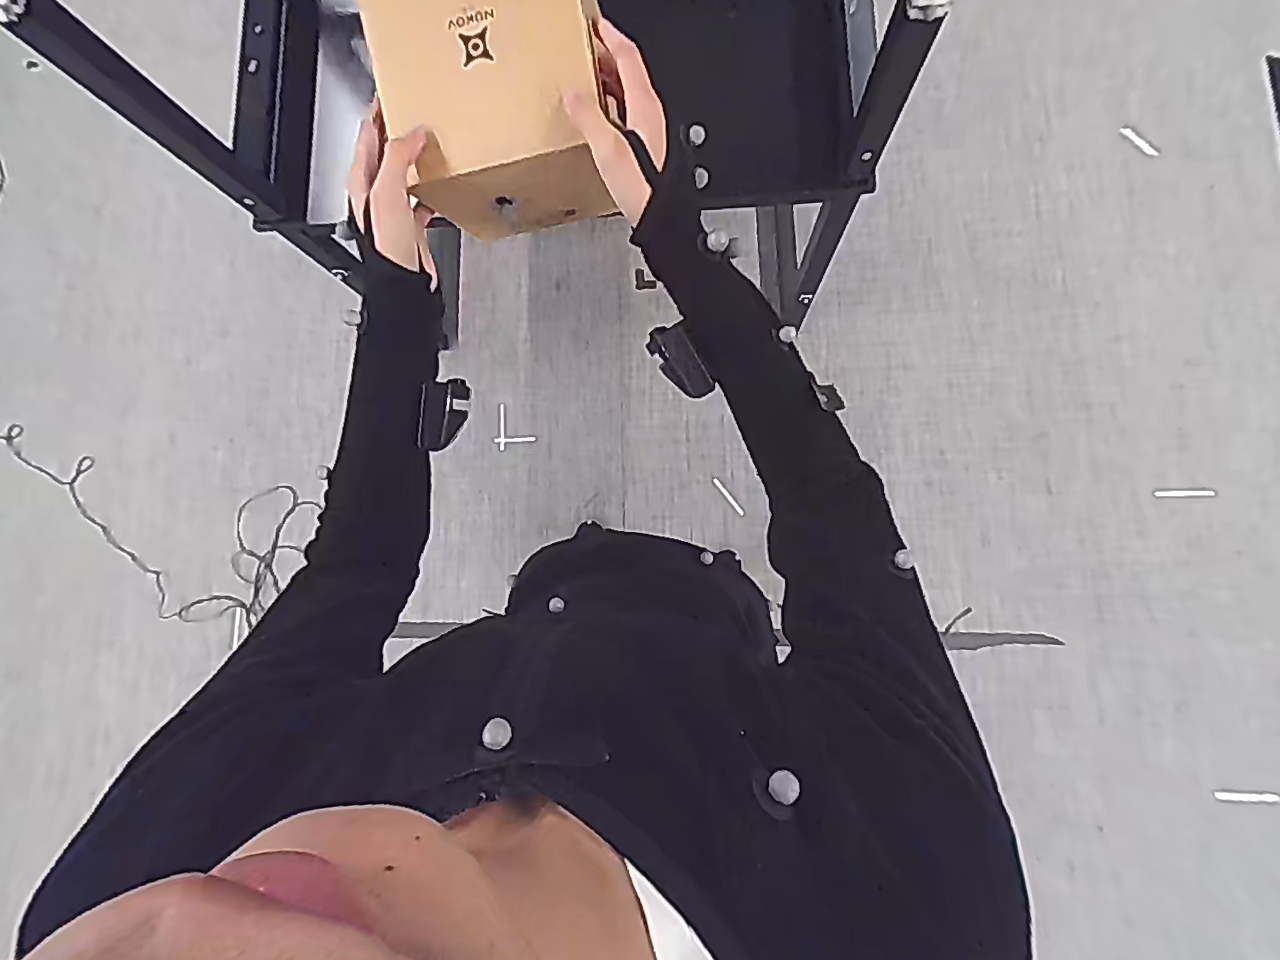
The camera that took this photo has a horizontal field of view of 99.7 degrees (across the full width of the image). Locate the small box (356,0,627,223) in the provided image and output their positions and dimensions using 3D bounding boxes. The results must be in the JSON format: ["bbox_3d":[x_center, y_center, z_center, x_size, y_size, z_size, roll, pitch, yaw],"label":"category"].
[{"bbox_3d":[-0.111,-0.340,0.463,0.168,0.176,0.179,-9,98,7],"label":"small box"}]
